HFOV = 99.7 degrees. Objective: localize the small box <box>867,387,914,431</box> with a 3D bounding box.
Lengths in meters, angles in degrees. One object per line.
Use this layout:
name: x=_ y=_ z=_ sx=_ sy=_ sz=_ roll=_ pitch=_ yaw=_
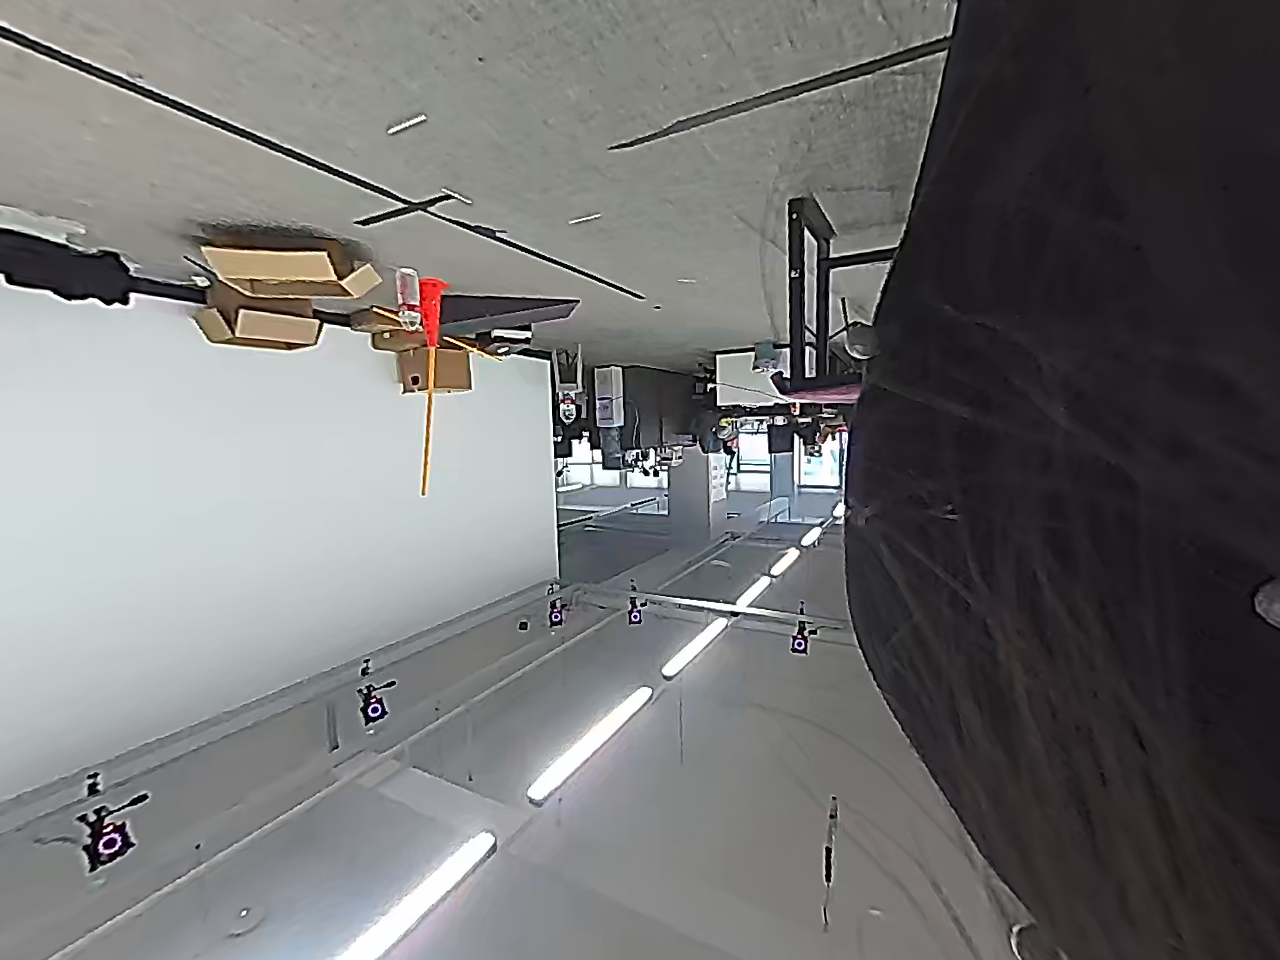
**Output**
small box: x=1.002 y=-0.284 z=2.168 sx=0.168 sy=0.176 sz=0.179 roll=0 pitch=-174 yaw=22
